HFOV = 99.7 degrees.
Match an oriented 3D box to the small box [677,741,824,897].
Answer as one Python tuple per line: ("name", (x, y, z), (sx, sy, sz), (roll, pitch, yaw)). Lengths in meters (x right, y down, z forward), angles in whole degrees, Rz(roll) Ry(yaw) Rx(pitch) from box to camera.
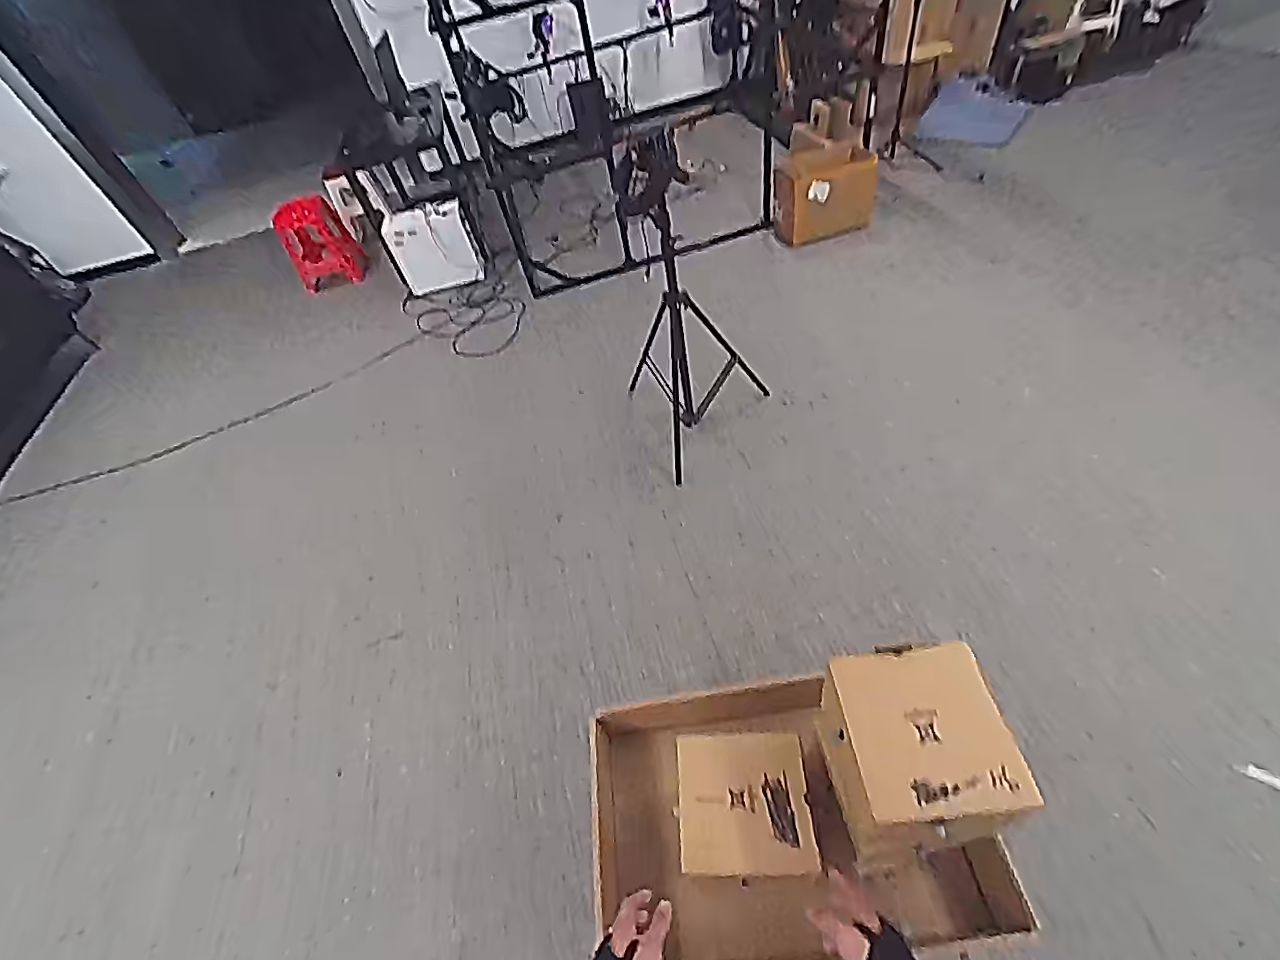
("small box", (0.148, 0.481, 0.768), (0.179, 0.176, 0.168), (-5, 49, 7))

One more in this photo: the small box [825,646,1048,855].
("small box", (0.324, 0.322, 0.640), (0.168, 0.176, 0.179), (-10, 47, 7))
